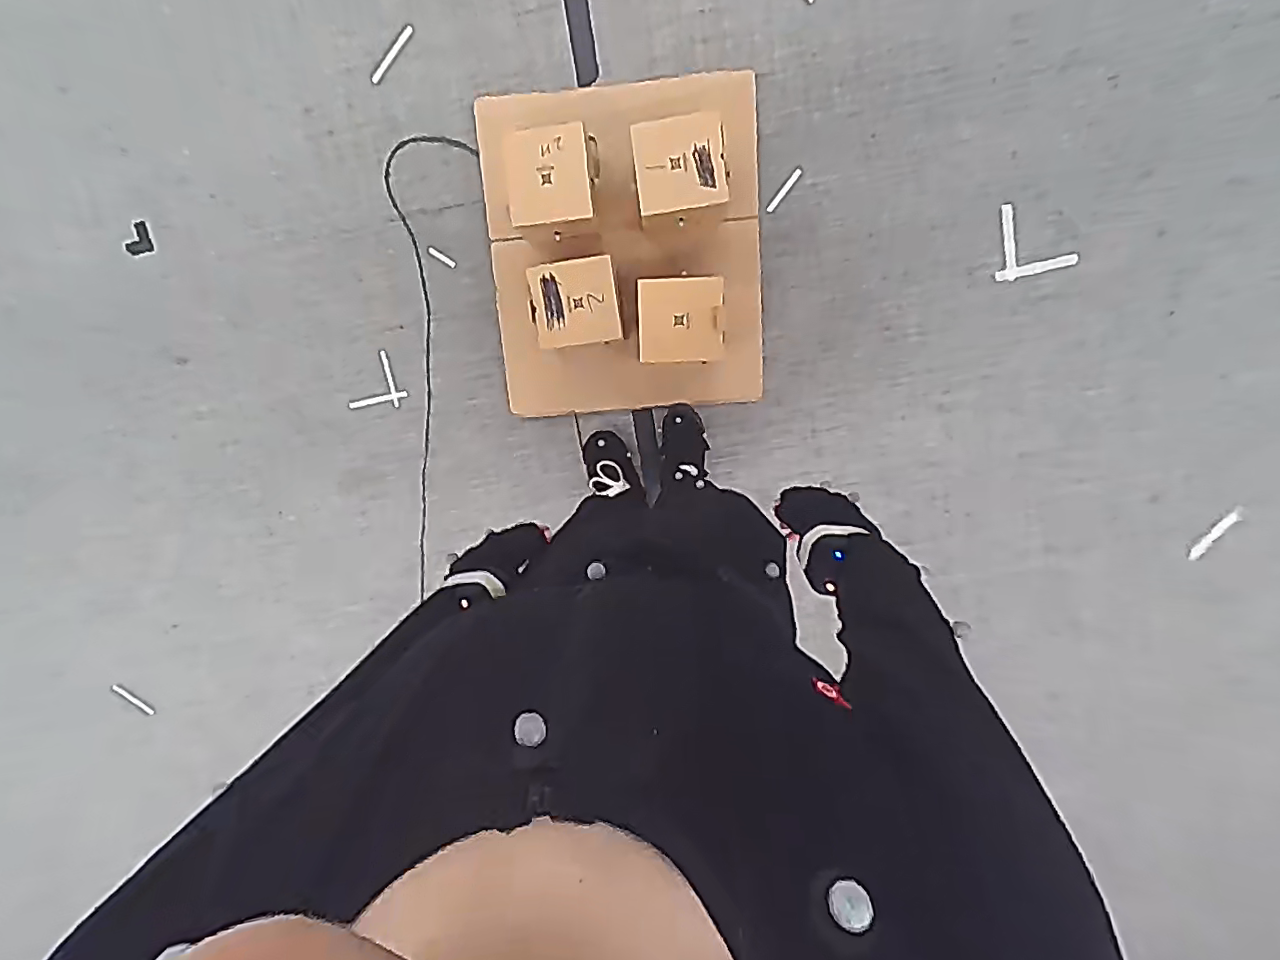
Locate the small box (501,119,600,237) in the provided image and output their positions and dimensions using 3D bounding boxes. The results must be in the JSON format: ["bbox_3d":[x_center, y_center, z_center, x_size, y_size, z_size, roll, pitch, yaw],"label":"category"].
[{"bbox_3d":[-0.179,-0.618,1.133,0.168,0.176,0.179,-4,102,3],"label":"small box"}]

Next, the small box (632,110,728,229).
[{"bbox_3d":[0.080,-0.630,1.117,0.179,0.176,0.168,-6,103,4],"label":"small box"}]
